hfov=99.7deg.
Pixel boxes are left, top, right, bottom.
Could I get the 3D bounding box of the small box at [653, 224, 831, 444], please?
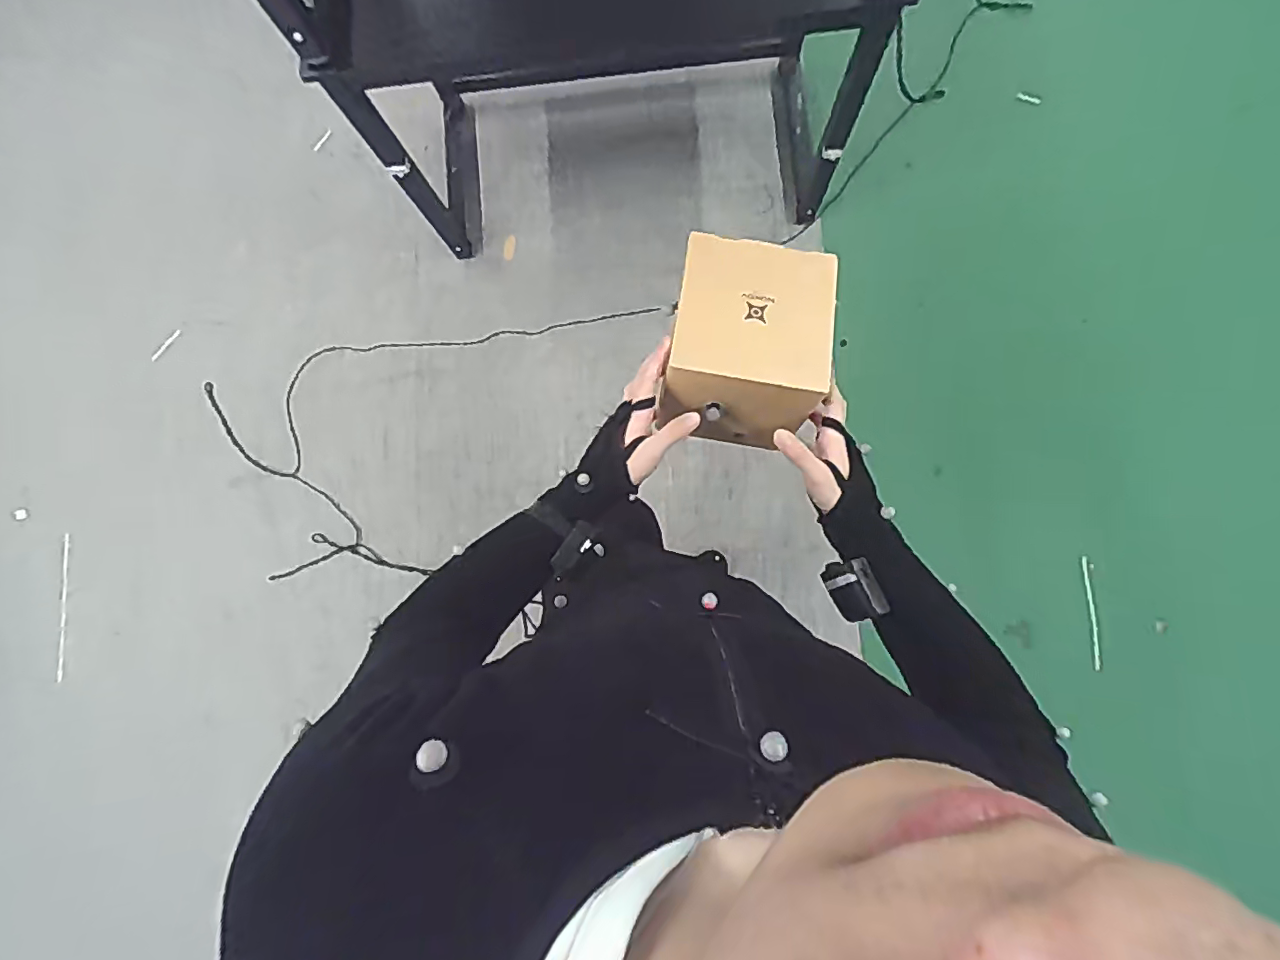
[{"bbox_3d":[0.109,-0.158,0.633,0.168,0.176,0.179,10,71,0],"label":"small box"}]
